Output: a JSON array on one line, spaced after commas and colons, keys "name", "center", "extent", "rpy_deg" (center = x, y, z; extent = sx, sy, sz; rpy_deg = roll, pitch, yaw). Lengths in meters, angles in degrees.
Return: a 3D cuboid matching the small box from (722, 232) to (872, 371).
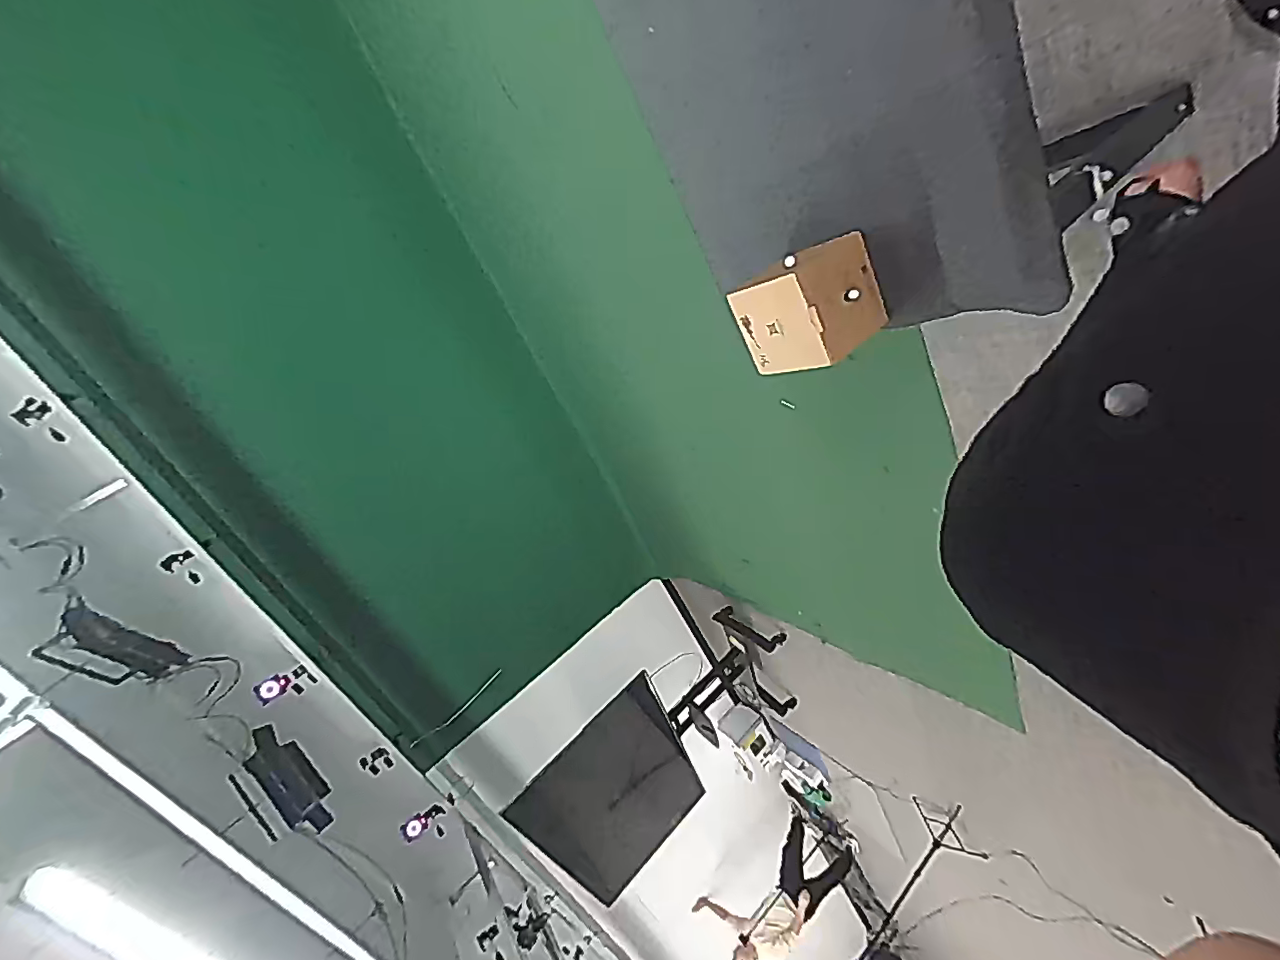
[{"name": "small box", "center": [0.285, -0.314, 0.963], "extent": [0.179, 0.176, 0.168], "rpy_deg": [8, 131, 59]}]
